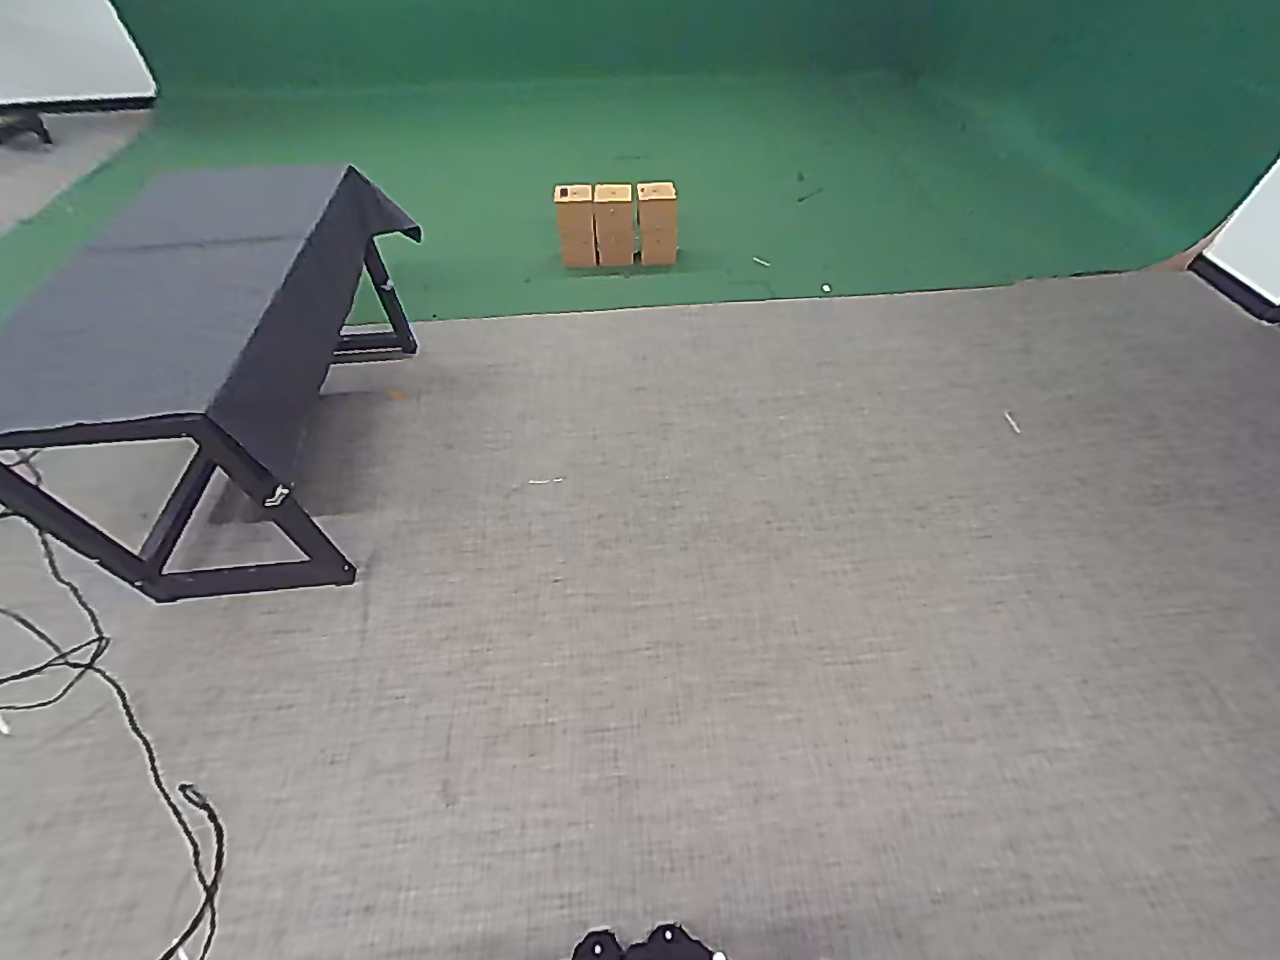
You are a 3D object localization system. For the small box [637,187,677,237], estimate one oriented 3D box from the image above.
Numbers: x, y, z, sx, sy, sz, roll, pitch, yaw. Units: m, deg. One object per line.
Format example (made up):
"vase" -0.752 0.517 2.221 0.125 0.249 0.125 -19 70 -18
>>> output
"small box" 0.076 -1.299 2.622 0.179 0.176 0.168 -3 51 -3
